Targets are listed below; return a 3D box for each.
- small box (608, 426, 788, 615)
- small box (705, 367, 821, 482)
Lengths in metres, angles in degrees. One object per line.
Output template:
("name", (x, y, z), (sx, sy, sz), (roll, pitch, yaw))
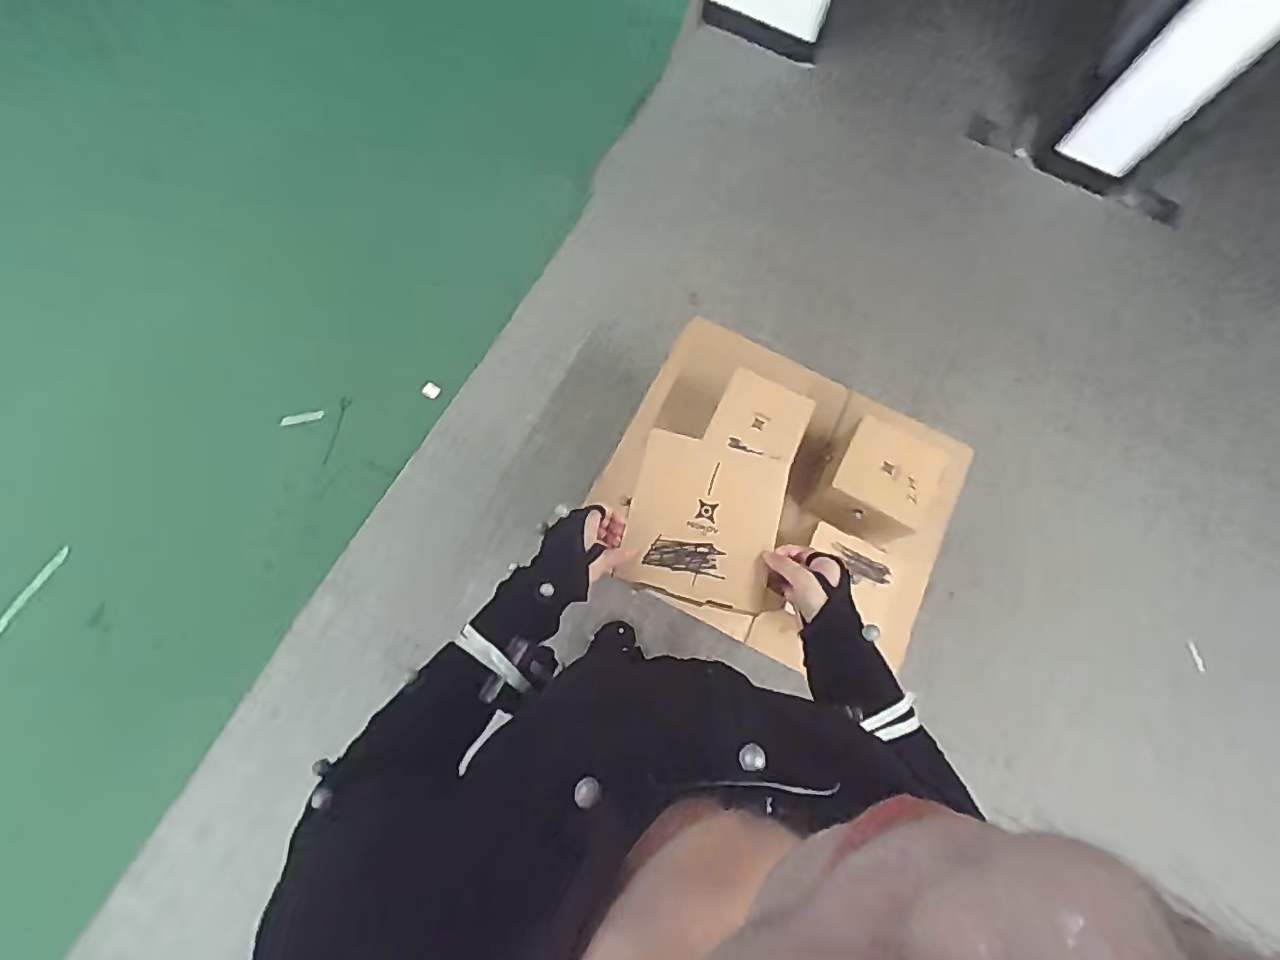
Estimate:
("small box", (0.064, 0.057, 0.666), (0.168, 0.176, 0.179), (15, 78, 1))
("small box", (0.224, -0.083, 1.063), (0.168, 0.176, 0.179), (26, 73, 6))
